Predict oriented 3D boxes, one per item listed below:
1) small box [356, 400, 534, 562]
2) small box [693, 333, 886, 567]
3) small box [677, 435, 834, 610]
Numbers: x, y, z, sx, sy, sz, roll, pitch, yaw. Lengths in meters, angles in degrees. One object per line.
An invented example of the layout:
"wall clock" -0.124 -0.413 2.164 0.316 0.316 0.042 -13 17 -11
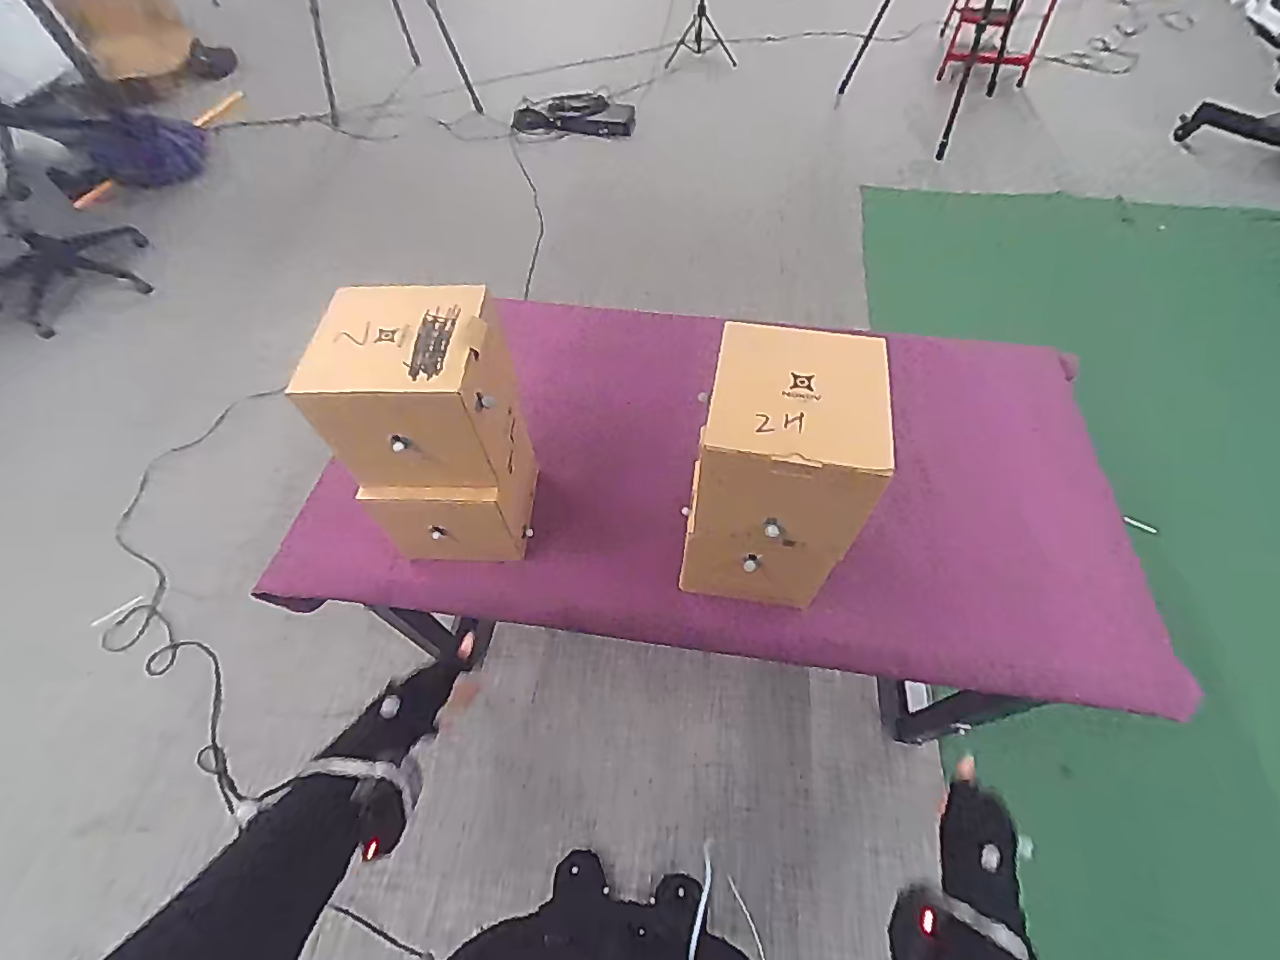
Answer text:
"small box" -0.255 0.007 0.764 0.179 0.176 0.168 1 56 2
"small box" 0.154 -0.030 0.593 0.168 0.176 0.179 10 57 8
"small box" 0.150 0.063 0.729 0.179 0.176 0.168 8 57 7
